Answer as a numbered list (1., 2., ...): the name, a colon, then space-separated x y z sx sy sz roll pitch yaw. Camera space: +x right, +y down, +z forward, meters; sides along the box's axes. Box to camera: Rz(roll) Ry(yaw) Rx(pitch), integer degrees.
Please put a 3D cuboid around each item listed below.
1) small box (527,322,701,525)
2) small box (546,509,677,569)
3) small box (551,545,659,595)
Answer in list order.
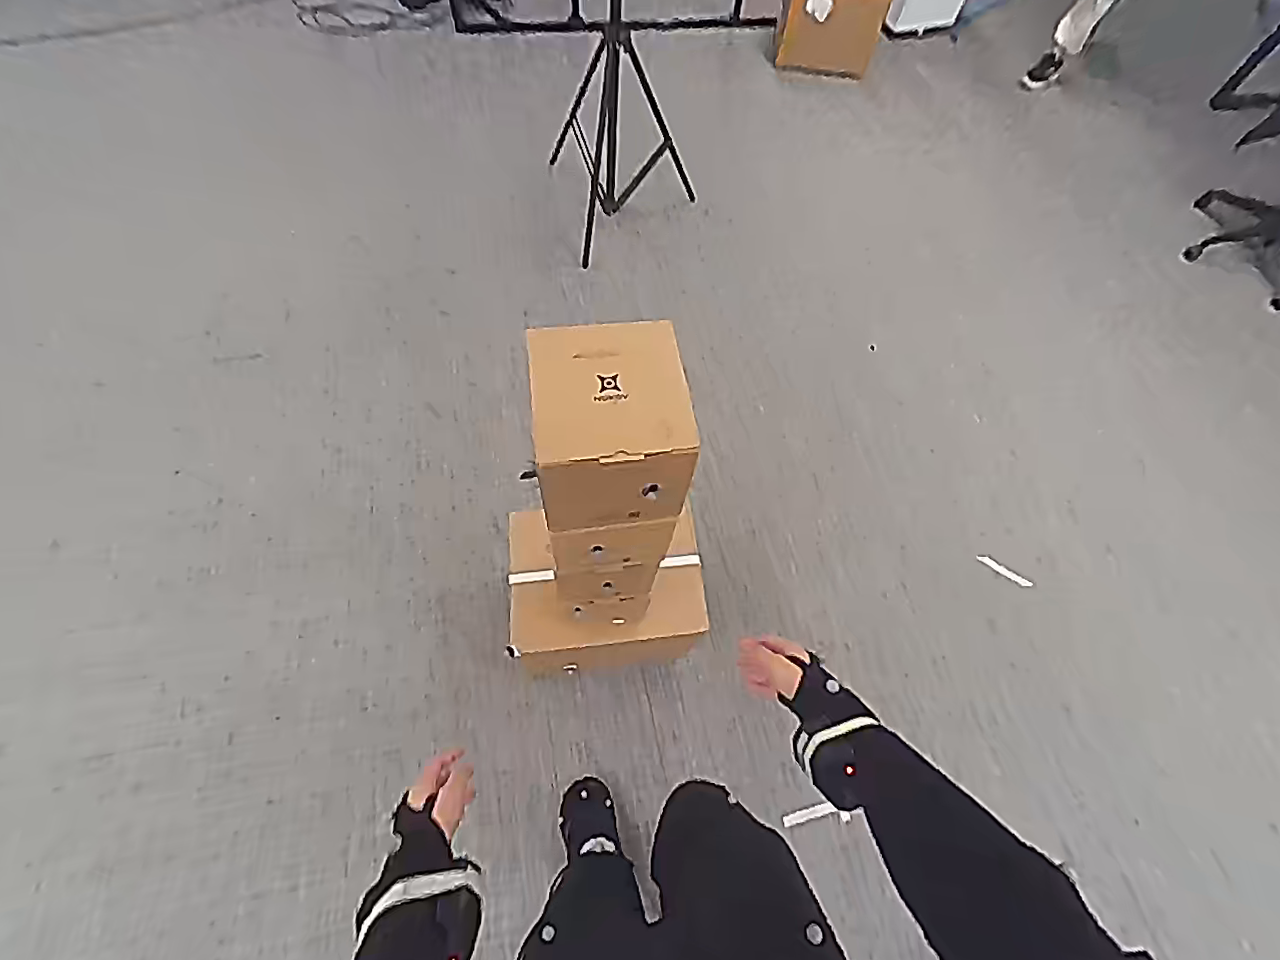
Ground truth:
1. small box: -0.037 -0.057 0.632 0.168 0.176 0.179 -6 62 -9
2. small box: -0.049 0.021 0.775 0.168 0.176 0.179 -6 63 -8
3. small box: -0.065 0.092 0.920 0.168 0.176 0.179 -4 64 -7
